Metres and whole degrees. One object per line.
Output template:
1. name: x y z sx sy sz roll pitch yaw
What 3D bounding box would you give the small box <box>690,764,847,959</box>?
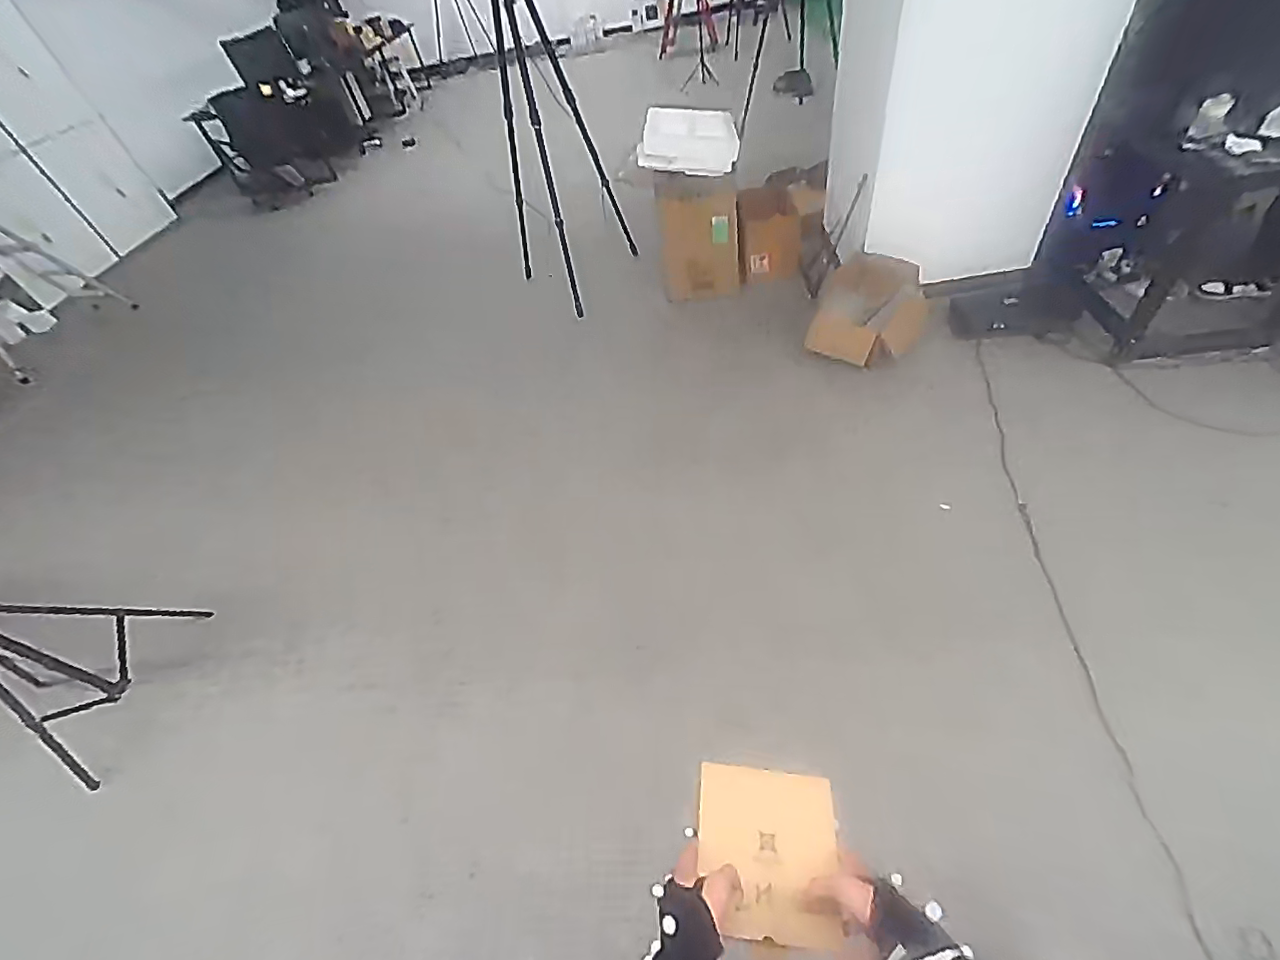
1. small box: 0.154 0.492 0.701 0.168 0.176 0.179 5 52 6
